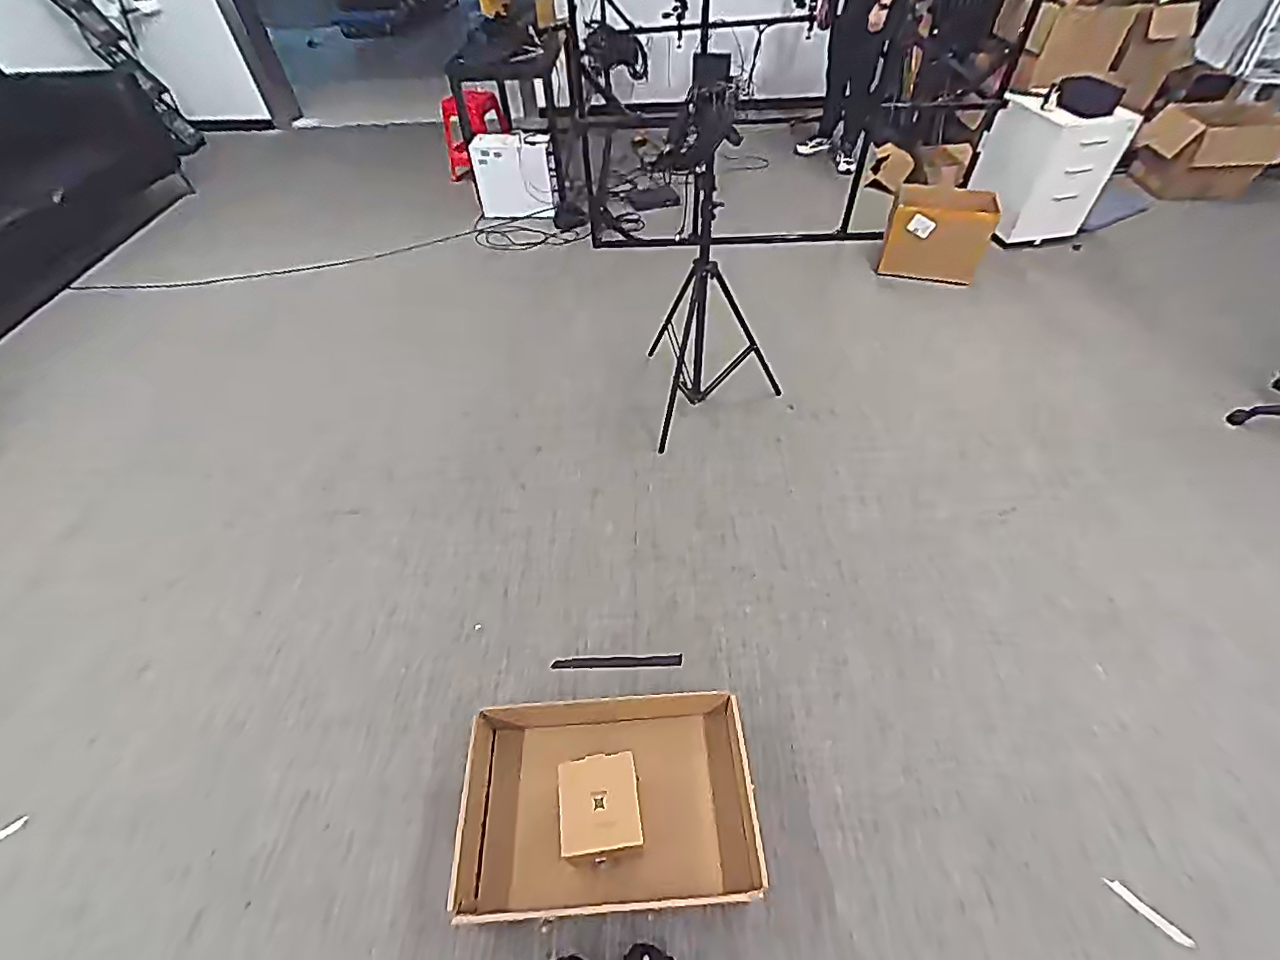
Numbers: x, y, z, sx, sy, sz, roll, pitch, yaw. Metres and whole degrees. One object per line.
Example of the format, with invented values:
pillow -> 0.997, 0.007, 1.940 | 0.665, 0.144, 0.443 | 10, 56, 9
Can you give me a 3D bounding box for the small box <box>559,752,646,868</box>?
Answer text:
small box -> -0.081, 0.721, 1.179 | 0.168, 0.176, 0.179 | -9, 50, -4
